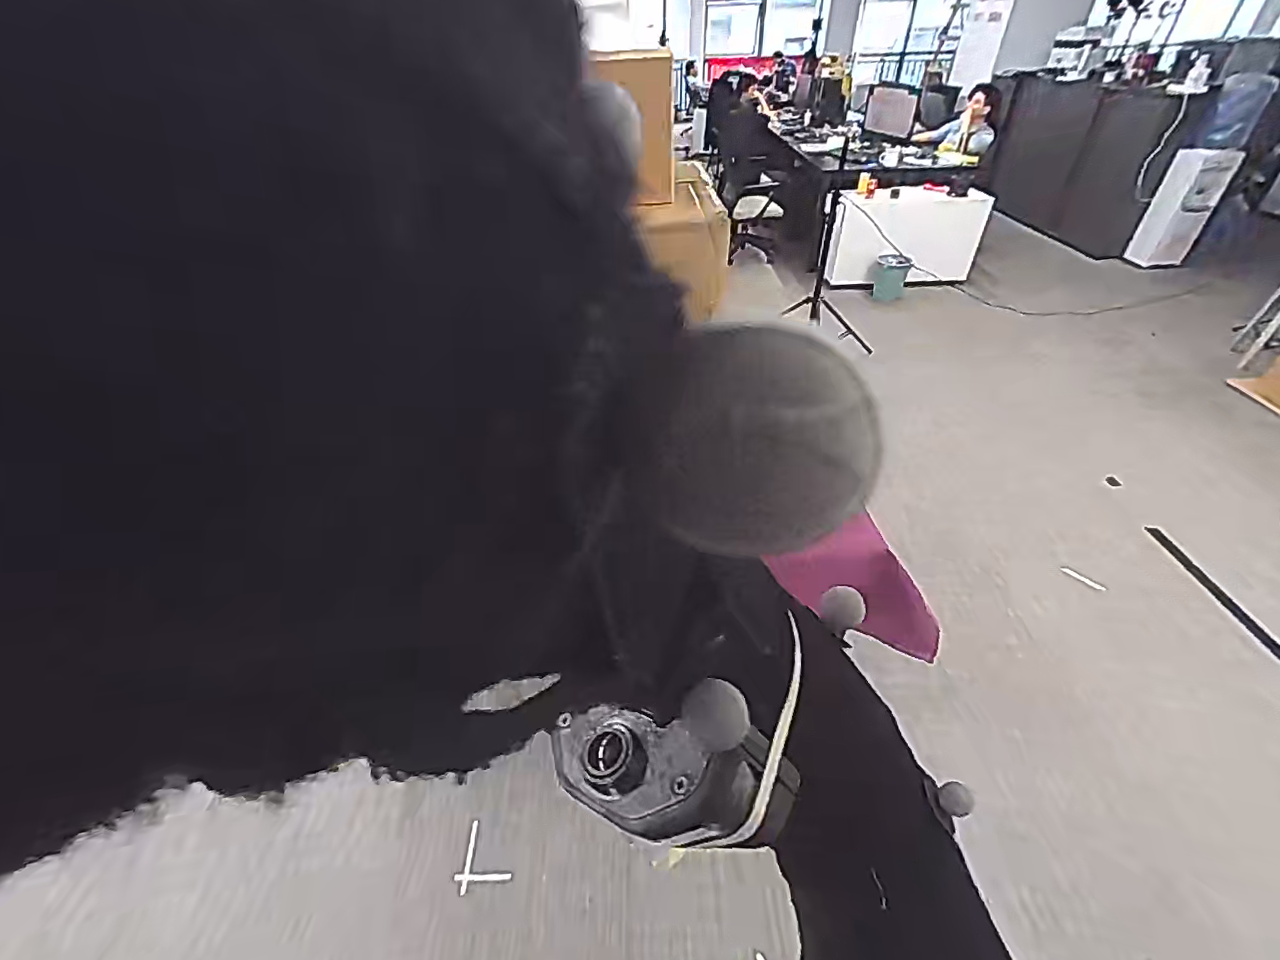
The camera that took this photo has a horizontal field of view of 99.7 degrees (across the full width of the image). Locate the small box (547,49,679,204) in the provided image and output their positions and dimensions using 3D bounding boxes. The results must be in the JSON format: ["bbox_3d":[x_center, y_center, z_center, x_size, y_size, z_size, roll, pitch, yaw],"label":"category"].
[{"bbox_3d":[-0.028,-0.510,0.780,0.168,0.176,0.179,0,40,4],"label":"small box"}]
